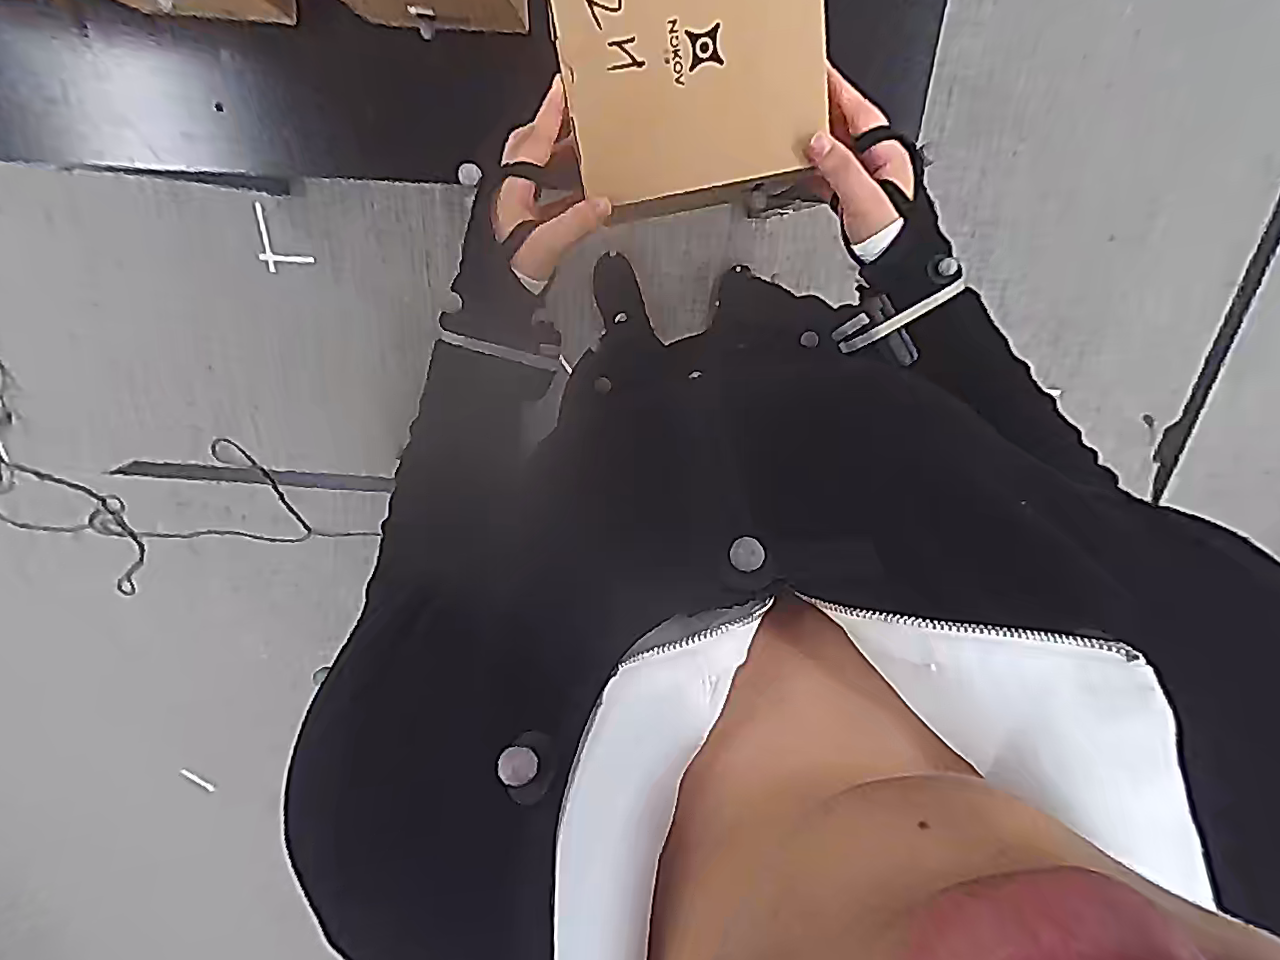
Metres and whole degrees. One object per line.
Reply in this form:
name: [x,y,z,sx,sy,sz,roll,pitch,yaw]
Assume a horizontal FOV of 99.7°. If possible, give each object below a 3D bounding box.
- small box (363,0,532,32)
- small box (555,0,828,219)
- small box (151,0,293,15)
small box: [-0.192,-0.524,0.462,0.168,0.176,0.179,2,114,1]
small box: [0.036,-0.316,0.433,0.179,0.176,0.168,-8,111,4]
small box: [-0.431,-0.532,0.457,0.168,0.176,0.179,2,114,-2]
